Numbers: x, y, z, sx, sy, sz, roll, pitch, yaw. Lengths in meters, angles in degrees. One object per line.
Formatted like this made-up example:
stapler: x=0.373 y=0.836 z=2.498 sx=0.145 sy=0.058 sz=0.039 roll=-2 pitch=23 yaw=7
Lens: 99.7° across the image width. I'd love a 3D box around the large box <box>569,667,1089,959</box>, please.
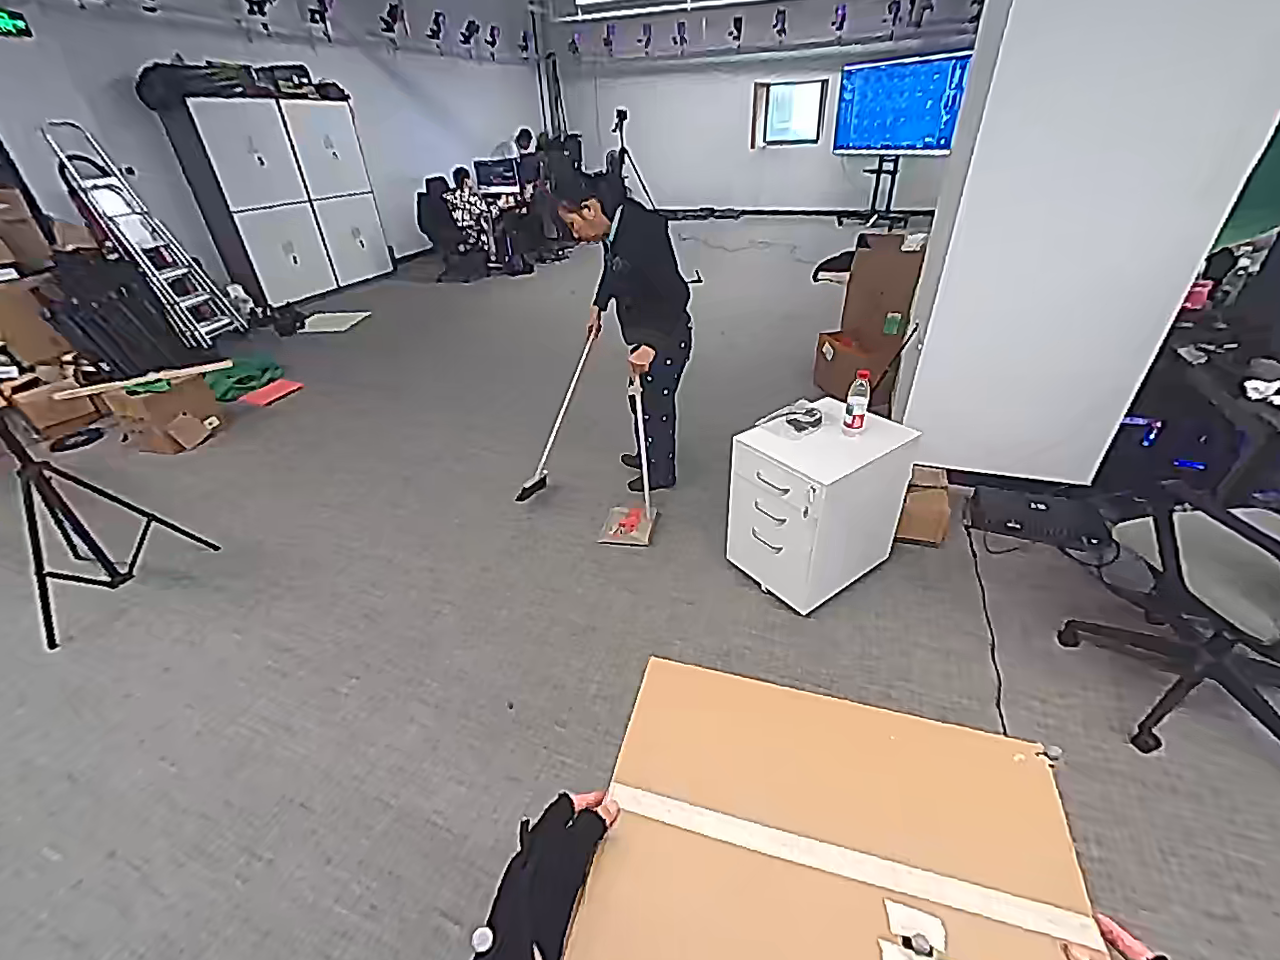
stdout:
large box: x=0.170 y=0.454 z=0.574 sx=0.408 sy=0.320 sz=0.320 roll=8 pitch=40 yaw=14
